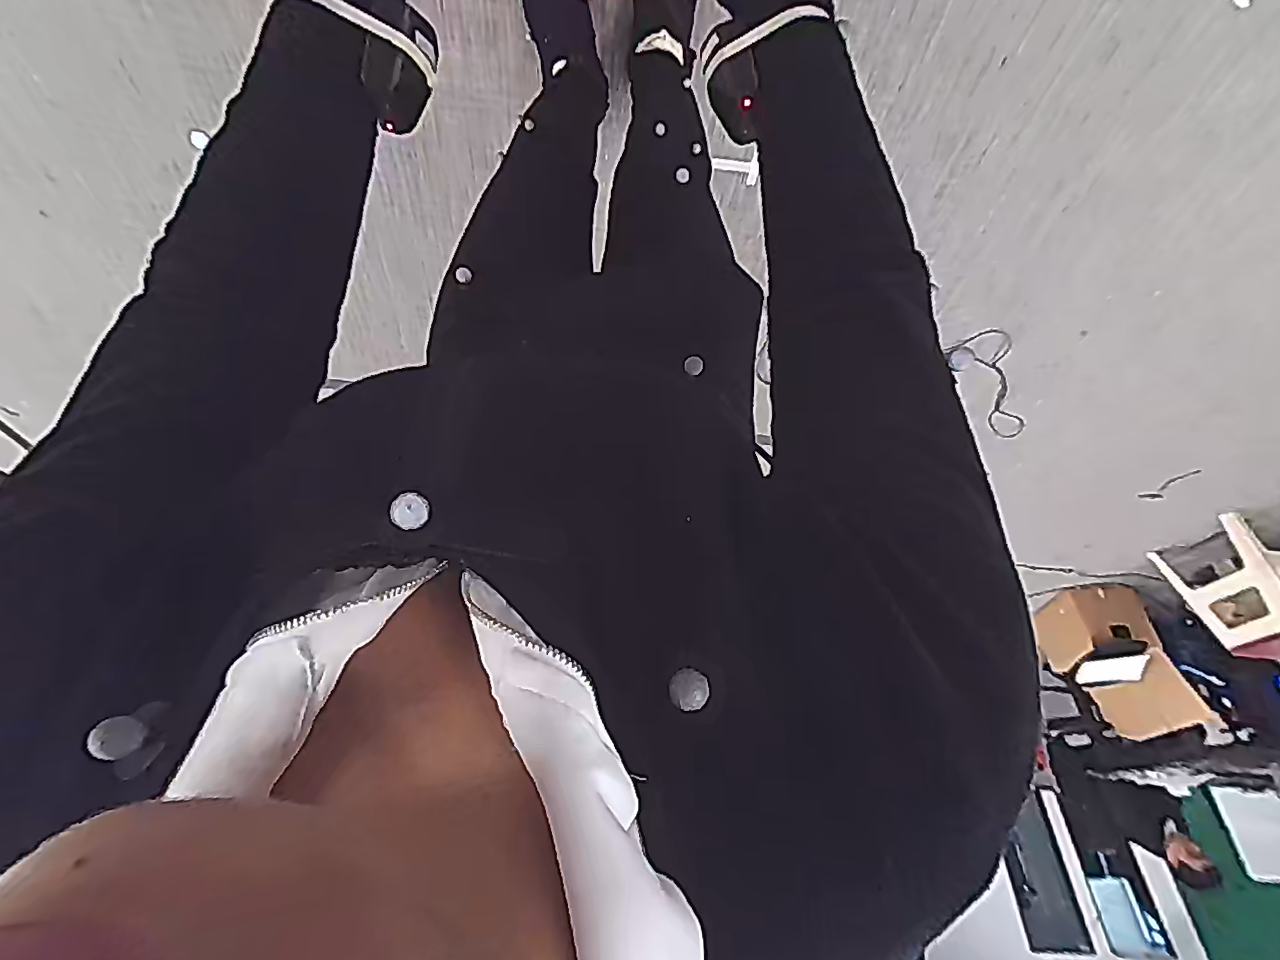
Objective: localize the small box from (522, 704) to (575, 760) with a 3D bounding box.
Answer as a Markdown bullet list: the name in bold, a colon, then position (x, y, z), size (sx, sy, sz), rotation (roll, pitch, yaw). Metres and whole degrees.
- **small box**: position (-0.349, 0.970, 2.085), size (0.179, 0.176, 0.168), rotation (2, 145, -2)
